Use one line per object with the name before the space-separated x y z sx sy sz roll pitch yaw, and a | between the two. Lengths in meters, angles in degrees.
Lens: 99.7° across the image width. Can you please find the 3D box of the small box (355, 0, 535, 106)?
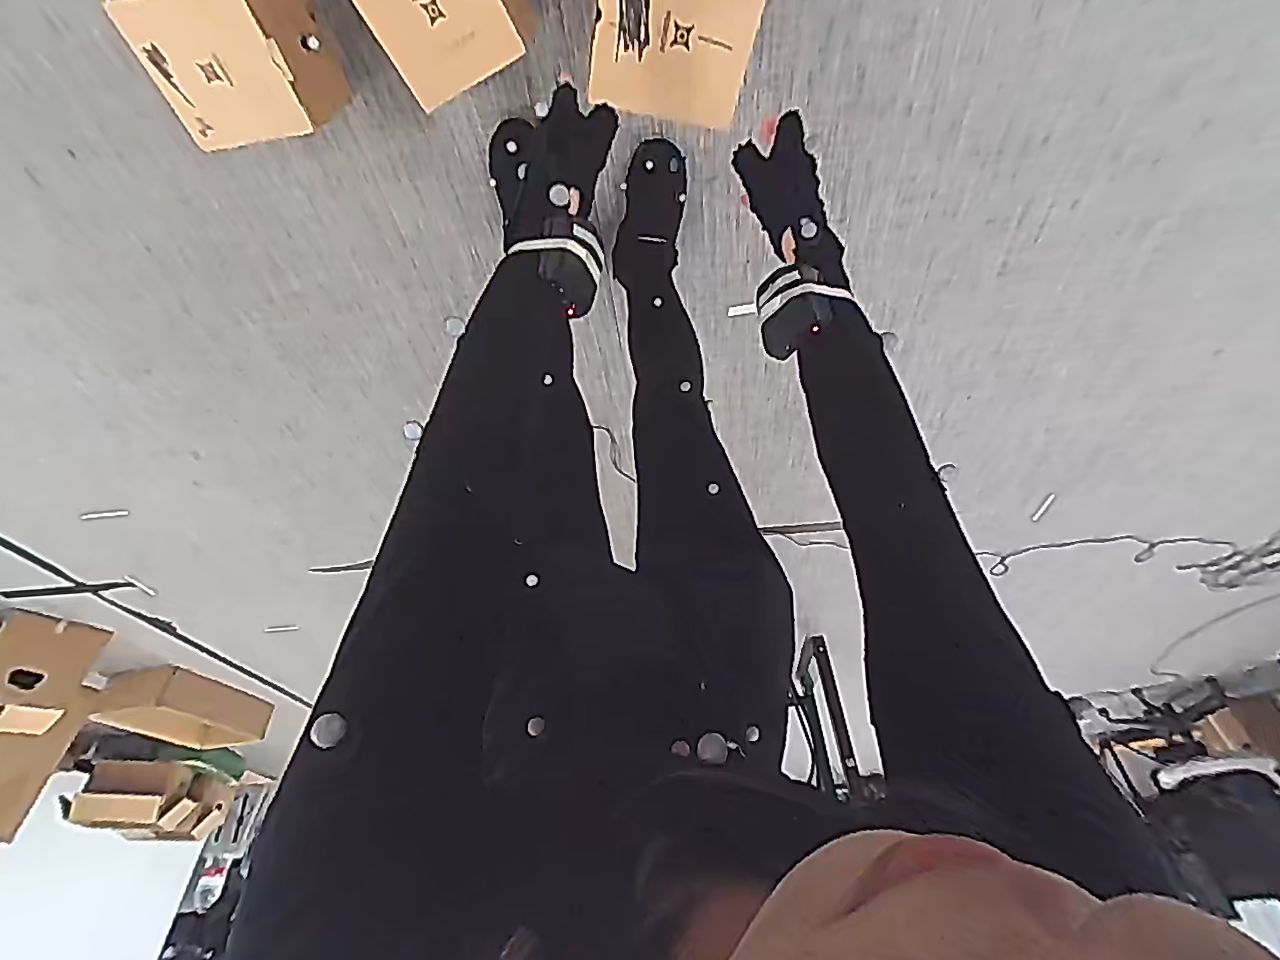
small box | -0.255 -0.639 0.701 0.168 0.176 0.179 -18 138 19

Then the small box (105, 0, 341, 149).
small box | -0.545 -0.589 0.745 0.179 0.176 0.168 -7 139 4
